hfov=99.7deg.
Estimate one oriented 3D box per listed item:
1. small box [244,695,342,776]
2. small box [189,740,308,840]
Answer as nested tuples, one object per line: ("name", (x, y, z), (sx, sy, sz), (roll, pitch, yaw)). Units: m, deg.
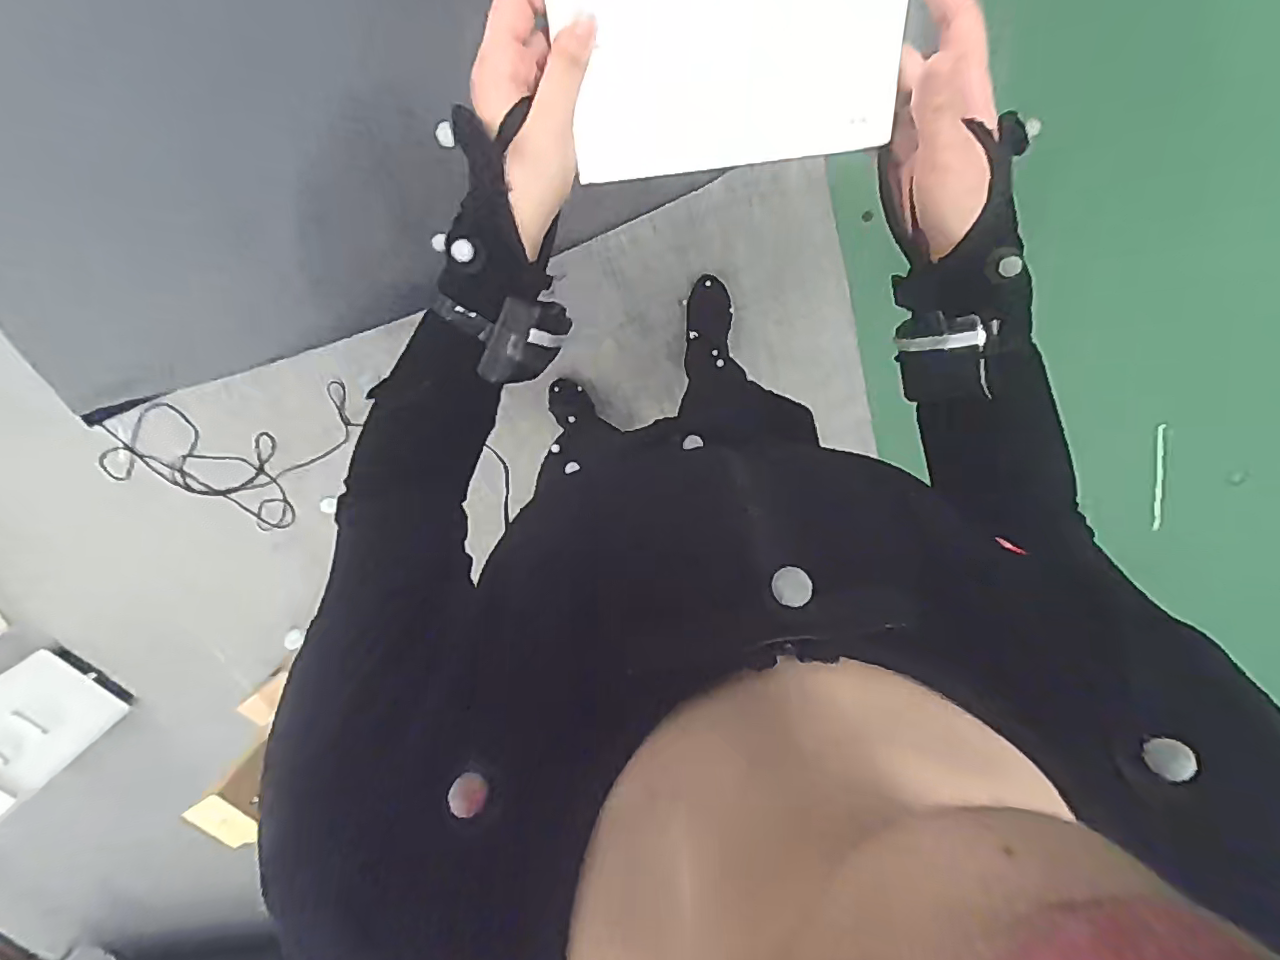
("small box", (-1.082, 0.812, 1.691), (0.168, 0.176, 0.179), (-34, 107, 20))
("small box", (-1.107, 0.874, 1.542), (0.168, 0.176, 0.179), (-33, 108, 19))
